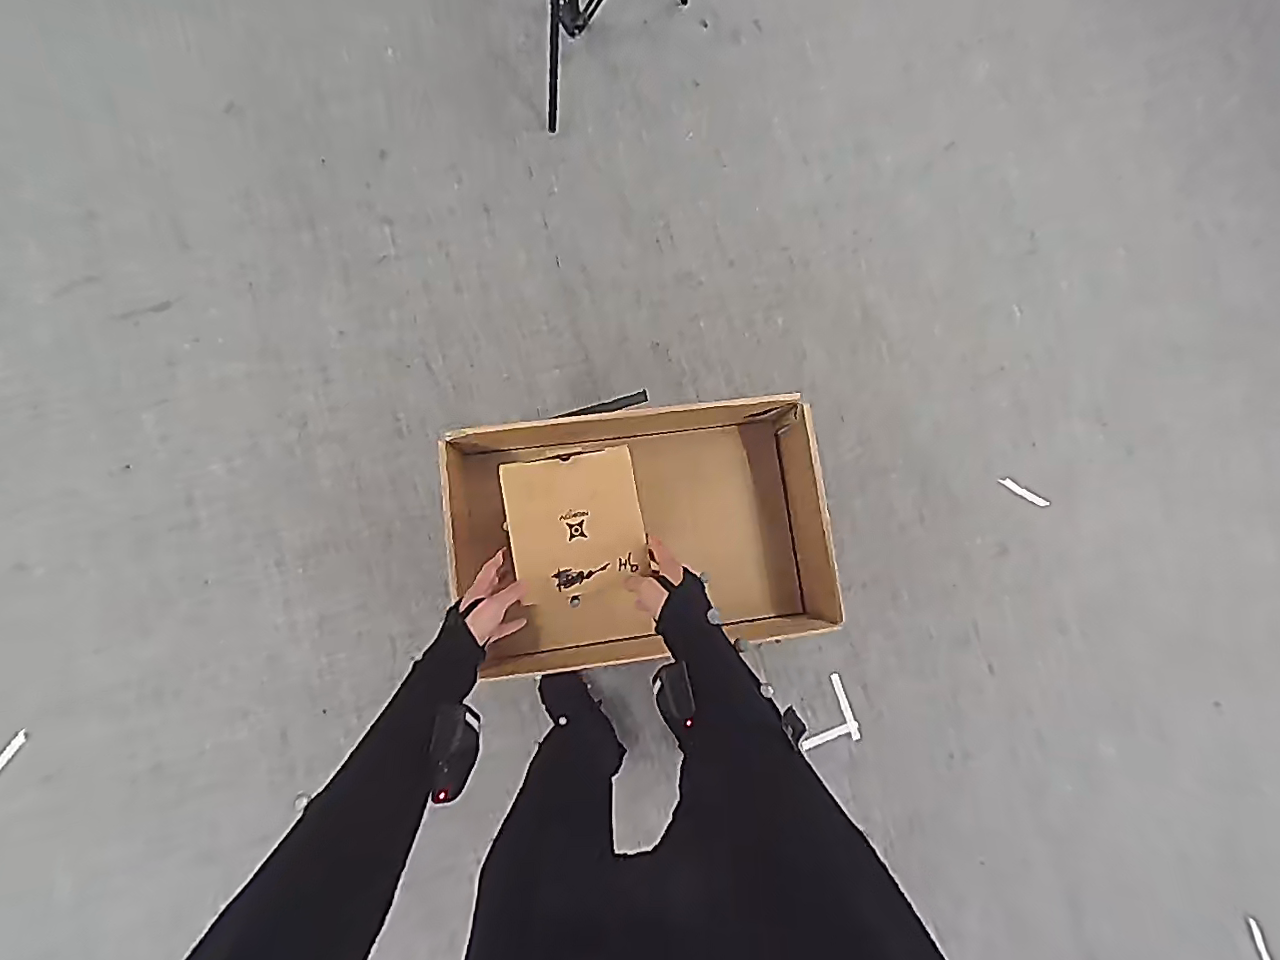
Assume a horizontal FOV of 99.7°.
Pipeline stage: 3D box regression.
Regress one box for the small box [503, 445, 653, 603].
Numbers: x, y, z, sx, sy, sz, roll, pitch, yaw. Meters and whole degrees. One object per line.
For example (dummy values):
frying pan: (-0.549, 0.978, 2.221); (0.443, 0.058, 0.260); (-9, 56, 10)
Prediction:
small box: (-0.086, 0.064, 0.745); (0.168, 0.176, 0.179); (-10, 83, -7)
